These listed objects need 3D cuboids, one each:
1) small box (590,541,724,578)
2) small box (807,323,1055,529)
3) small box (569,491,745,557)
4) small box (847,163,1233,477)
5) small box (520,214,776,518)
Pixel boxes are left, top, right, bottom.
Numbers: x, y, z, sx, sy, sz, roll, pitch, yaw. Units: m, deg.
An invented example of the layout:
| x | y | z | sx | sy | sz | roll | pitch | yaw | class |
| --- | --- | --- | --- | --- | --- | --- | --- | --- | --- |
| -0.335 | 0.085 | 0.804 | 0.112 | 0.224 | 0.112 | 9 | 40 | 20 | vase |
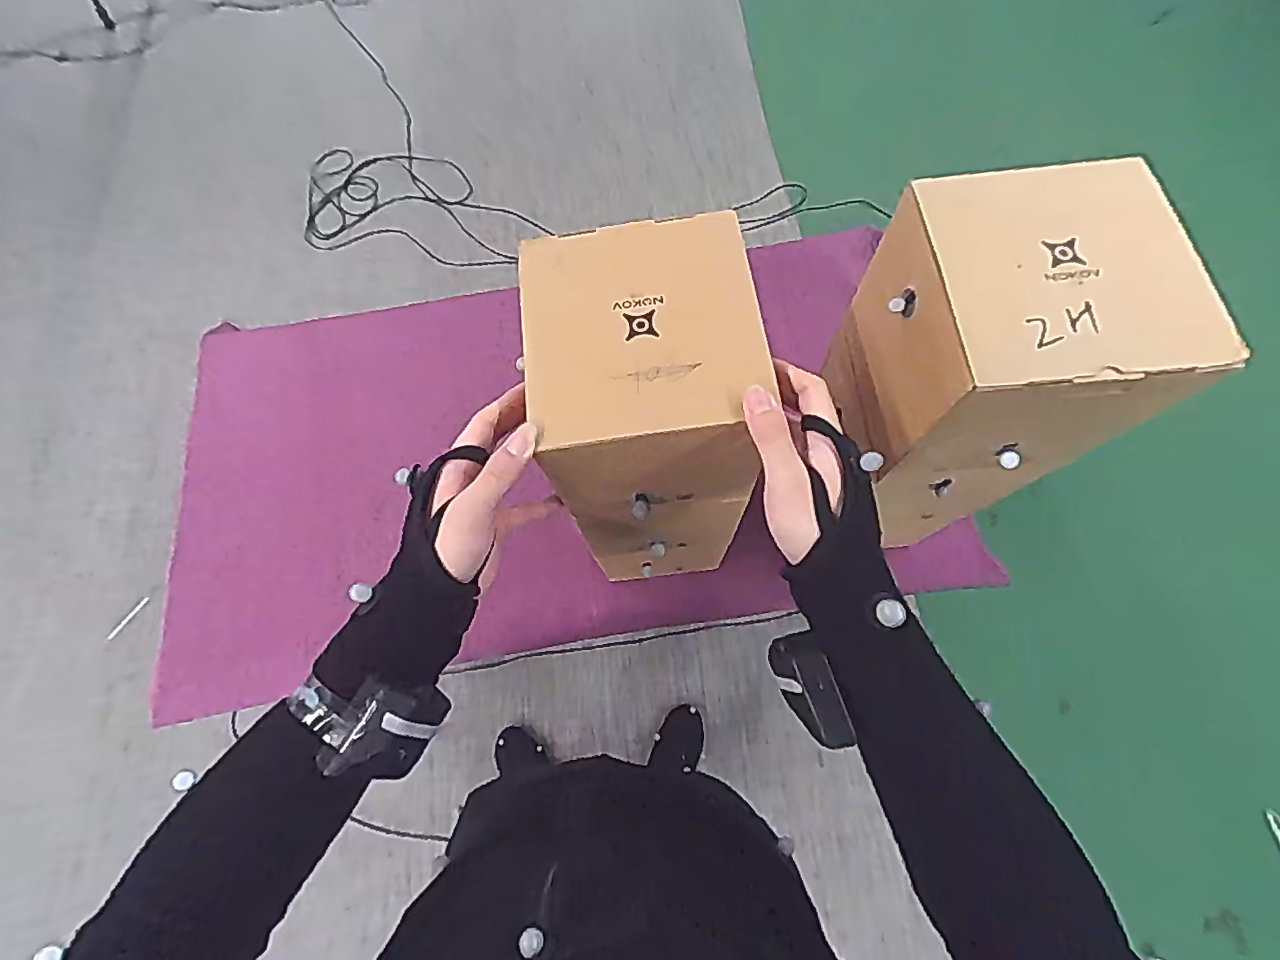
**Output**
| x | y | z | sx | sy | sz | roll | pitch | yaw | class |
| --- | --- | --- | --- | --- | --- | --- | --- | --- | --- |
| 0.020 | 0.035 | 0.753 | 0.168 | 0.176 | 0.179 | -7 | 69 | 1 | small box |
| 0.292 | -0.057 | 0.592 | 0.168 | 0.176 | 0.179 | -5 | 69 | 3 | small box |
| 0.012 | -0.023 | 0.600 | 0.168 | 0.176 | 0.179 | -7 | 70 | 1 | small box |
| 0.283 | -0.115 | 0.438 | 0.168 | 0.176 | 0.179 | -4 | 71 | 3 | small box |
| 0.003 | -0.081 | 0.448 | 0.168 | 0.176 | 0.179 | -7 | 70 | 2 | small box |
